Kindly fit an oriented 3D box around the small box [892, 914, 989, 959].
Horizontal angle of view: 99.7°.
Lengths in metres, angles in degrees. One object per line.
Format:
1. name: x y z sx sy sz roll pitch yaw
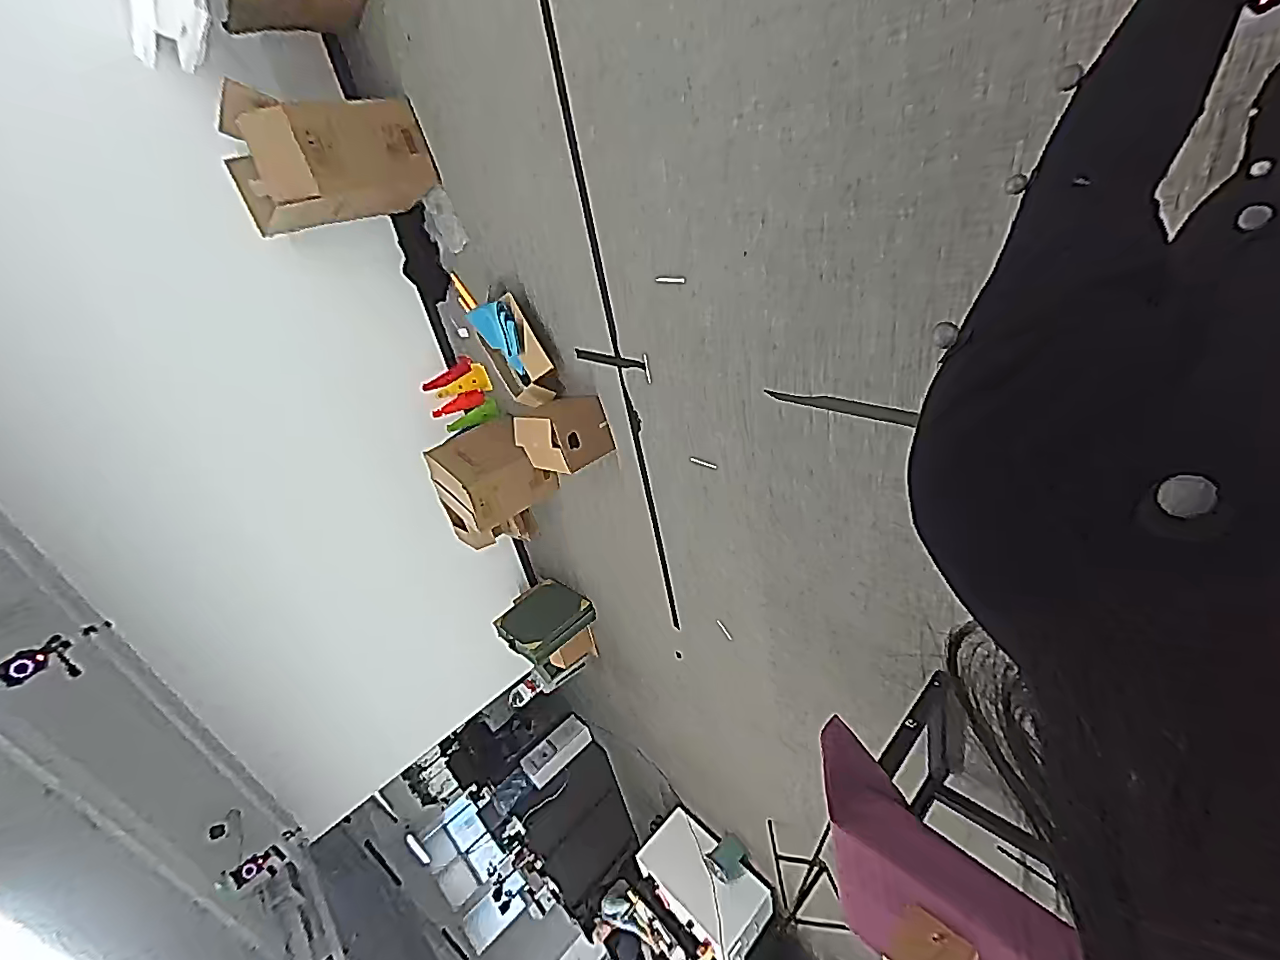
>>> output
1. small box: 0.791 1.300 1.422 0.179 0.176 0.168 15 129 48
